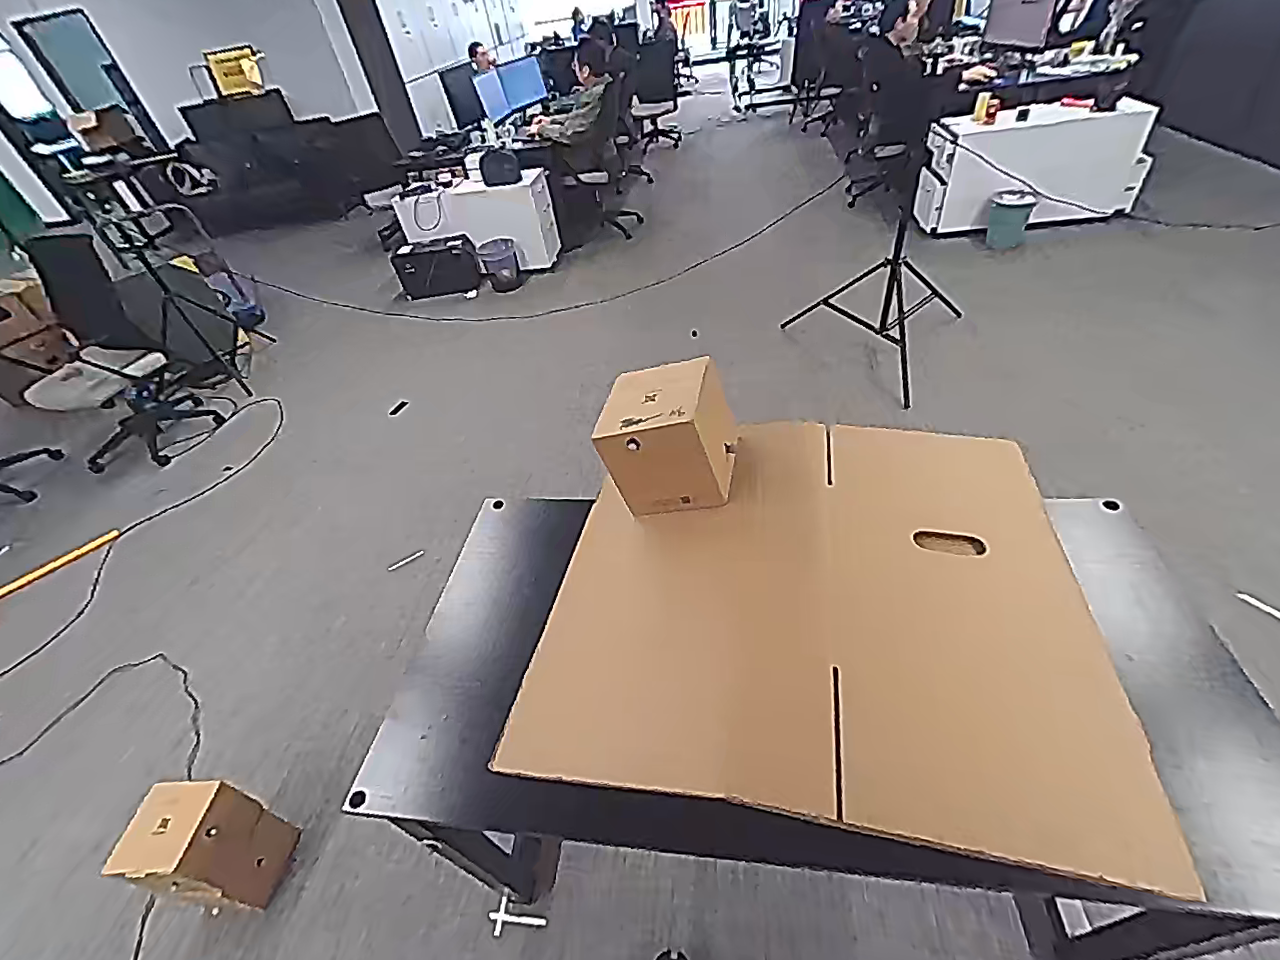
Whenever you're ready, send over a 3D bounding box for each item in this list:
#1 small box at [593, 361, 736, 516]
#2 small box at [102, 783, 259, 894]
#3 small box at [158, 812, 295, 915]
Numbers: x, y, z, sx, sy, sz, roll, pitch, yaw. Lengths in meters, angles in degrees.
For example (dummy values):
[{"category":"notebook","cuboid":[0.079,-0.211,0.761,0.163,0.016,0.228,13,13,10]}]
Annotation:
[{"category":"small box","cuboid":[0.050,-0.064,0.874,0.168,0.176,0.179,-9,38,25]},{"category":"small box","cuboid":[-1.005,0.803,1.206,0.168,0.176,0.179,-5,41,5]},{"category":"small box","cuboid":[-0.983,0.926,1.311,0.168,0.176,0.179,-3,43,8]}]
